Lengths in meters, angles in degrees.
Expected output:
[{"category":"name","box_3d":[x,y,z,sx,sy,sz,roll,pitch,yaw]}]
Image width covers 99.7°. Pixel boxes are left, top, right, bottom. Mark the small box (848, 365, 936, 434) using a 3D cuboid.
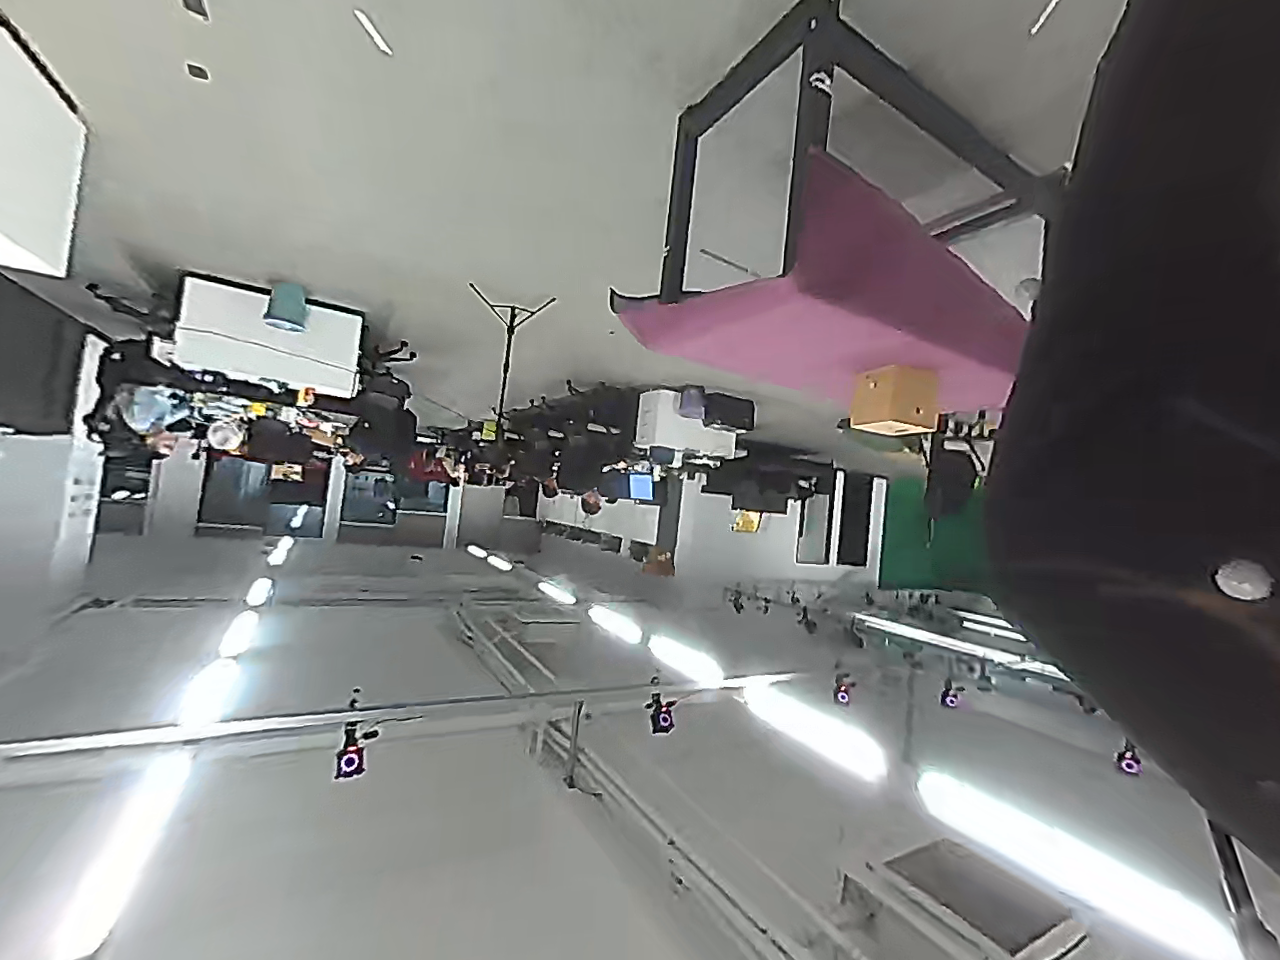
[{"category":"small box","box_3d":[0.753,-0.238,1.613,0.179,0.176,0.168,7,177,-20]}]
